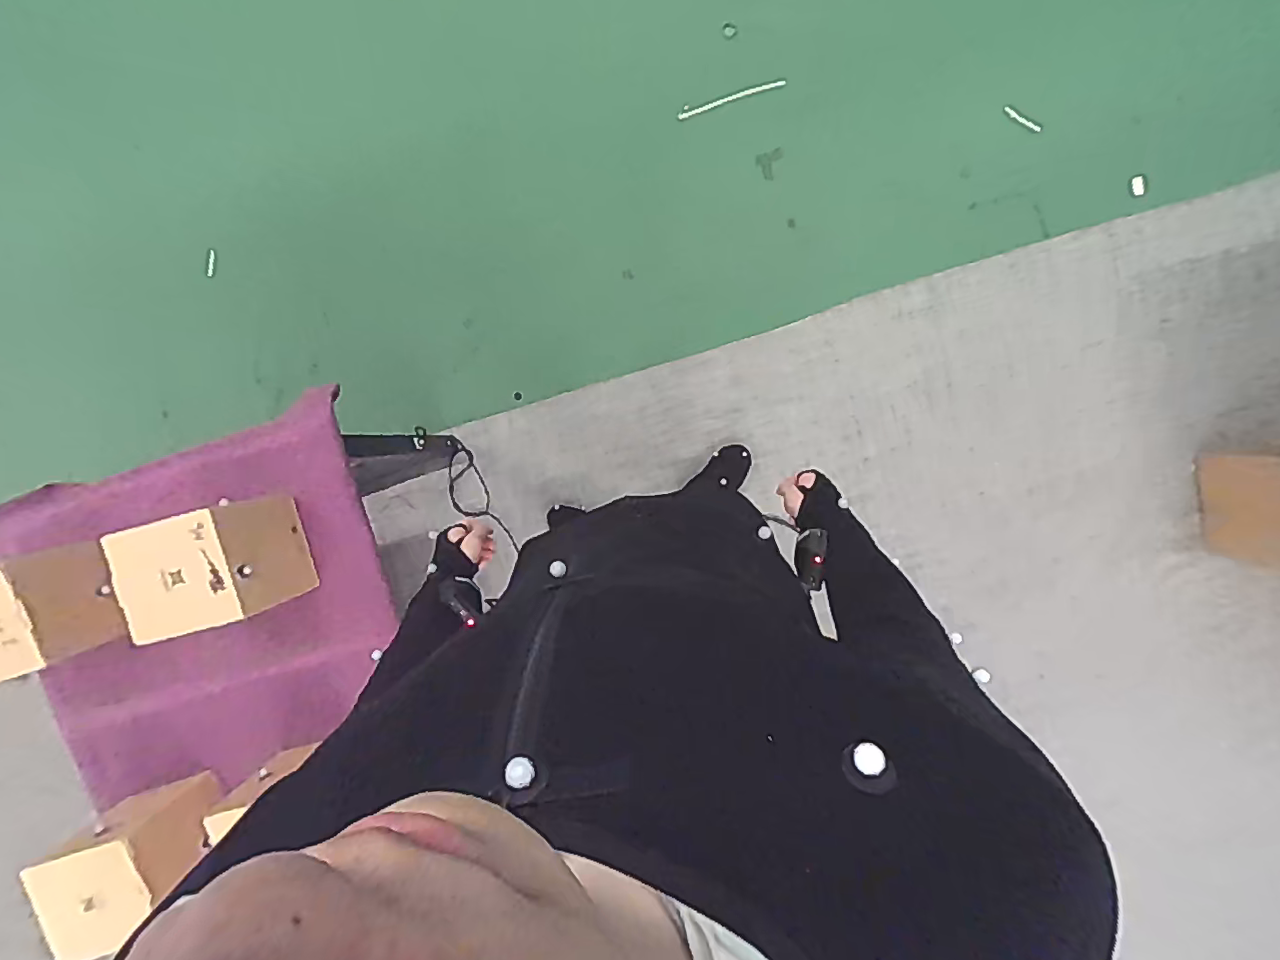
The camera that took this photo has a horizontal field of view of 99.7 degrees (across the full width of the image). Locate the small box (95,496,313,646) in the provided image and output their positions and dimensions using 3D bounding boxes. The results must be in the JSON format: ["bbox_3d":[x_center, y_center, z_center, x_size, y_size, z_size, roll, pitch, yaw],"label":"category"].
[{"bbox_3d":[-0.653,0.130,0.831,0.179,0.176,0.168,-14,95,5],"label":"small box"}]

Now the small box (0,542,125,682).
[{"bbox_3d":[-0.960,0.211,0.843,0.179,0.176,0.168,-18,97,2],"label":"small box"}]

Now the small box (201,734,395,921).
[{"bbox_3d":[-0.530,0.541,0.863,0.179,0.176,0.168,-16,95,3],"label":"small box"}]

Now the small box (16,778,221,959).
[{"bbox_3d":[-0.815,0.627,0.878,0.179,0.176,0.168,-19,93,2],"label":"small box"}]
